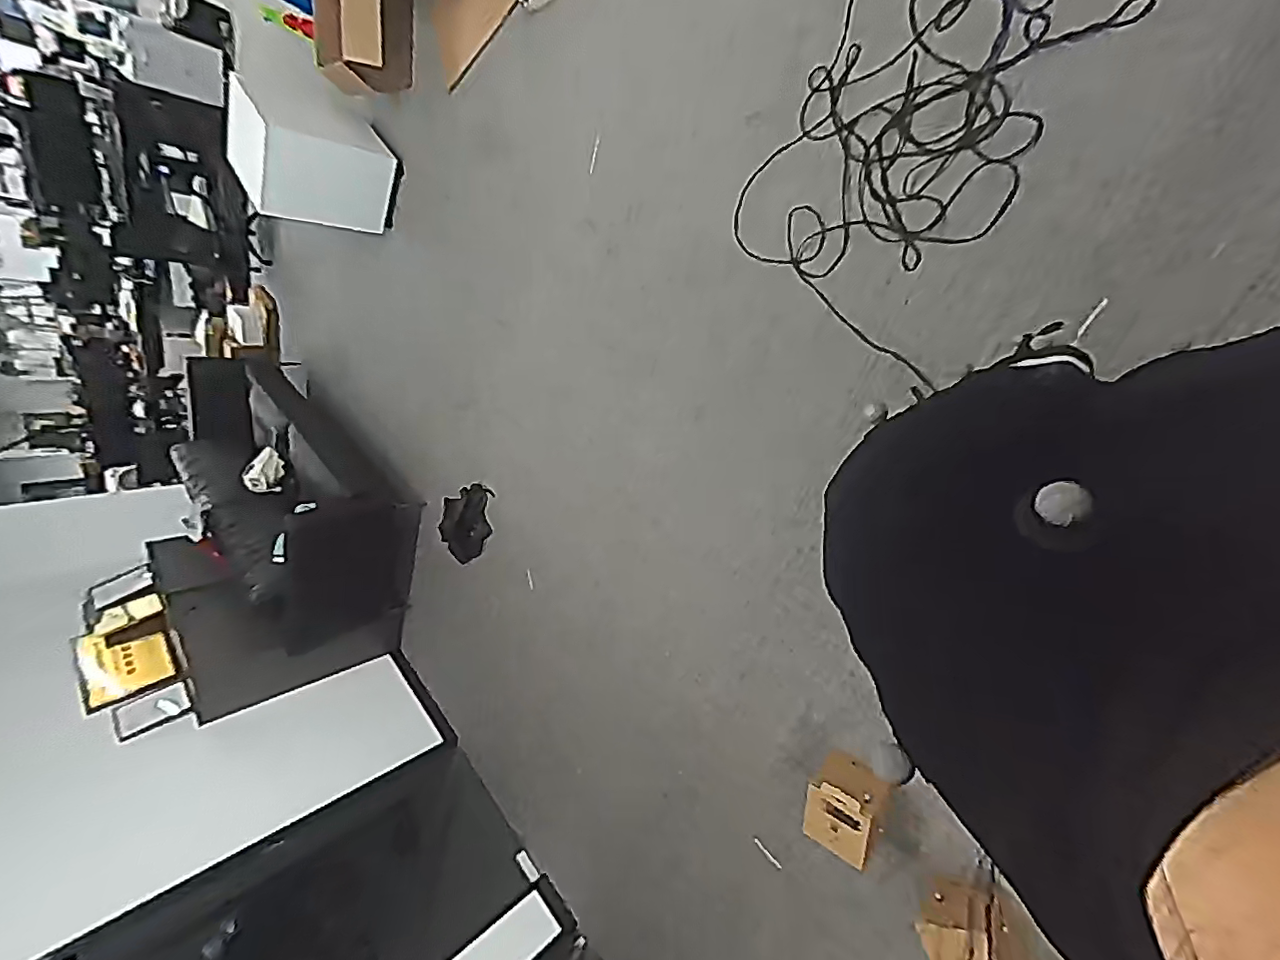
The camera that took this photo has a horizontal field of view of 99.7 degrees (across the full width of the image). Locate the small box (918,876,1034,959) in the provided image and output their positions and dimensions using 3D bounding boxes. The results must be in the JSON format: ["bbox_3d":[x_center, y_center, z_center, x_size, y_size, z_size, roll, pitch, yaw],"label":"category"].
[{"bbox_3d":[0.801,1.090,1.288,0.168,0.176,0.179,-31,78,44],"label":"small box"}]
